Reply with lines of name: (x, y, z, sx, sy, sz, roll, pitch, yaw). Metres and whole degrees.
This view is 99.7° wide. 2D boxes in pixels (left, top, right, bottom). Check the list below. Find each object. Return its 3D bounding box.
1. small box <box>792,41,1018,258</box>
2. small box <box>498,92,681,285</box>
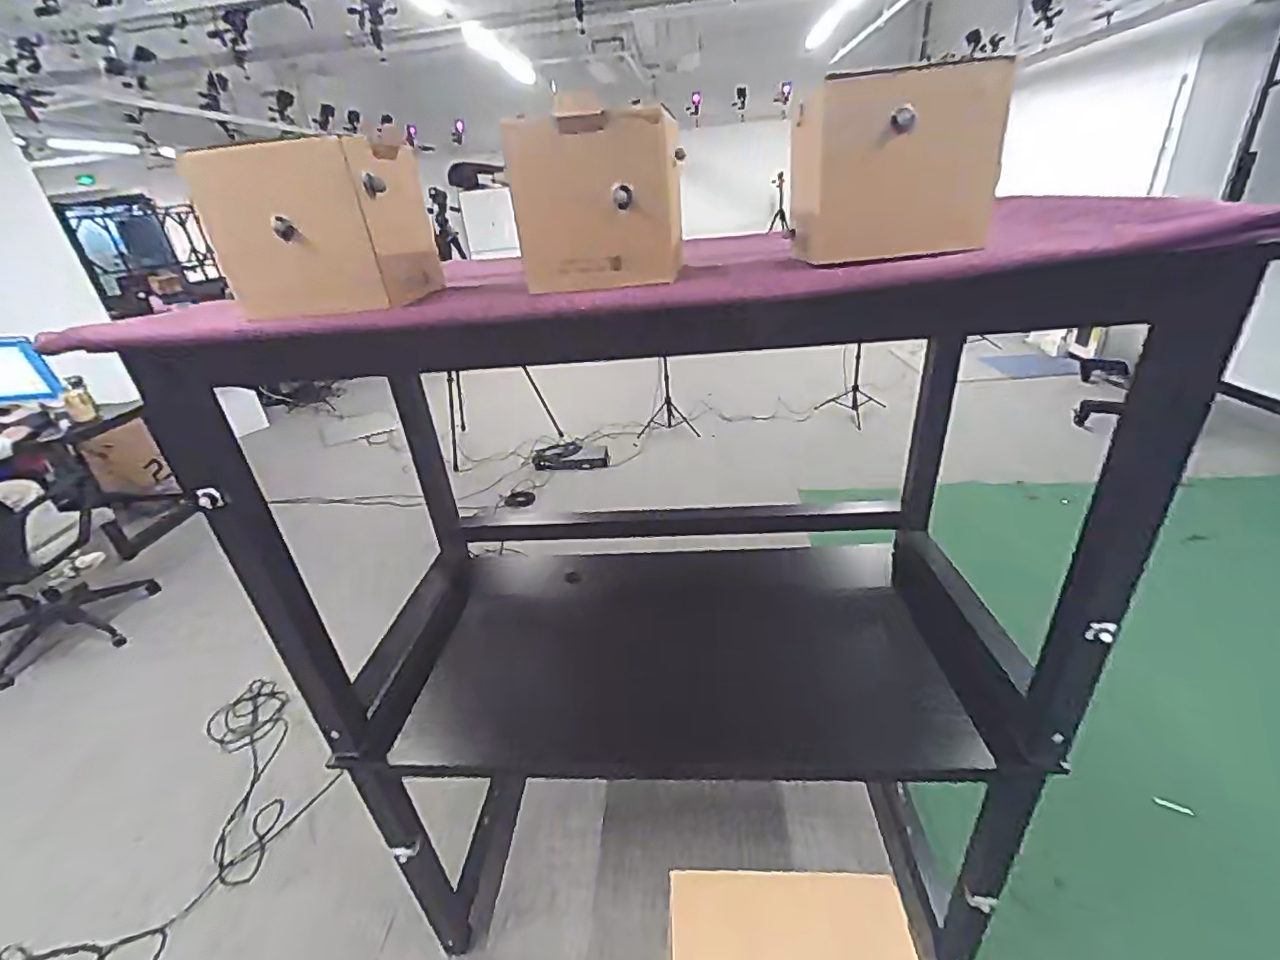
small box: (0.270, -0.345, 0.597, 0.179, 0.176, 0.168, -3, 25, 6)
small box: (-0.041, -0.322, 0.621, 0.168, 0.176, 0.179, 0, 27, 8)
